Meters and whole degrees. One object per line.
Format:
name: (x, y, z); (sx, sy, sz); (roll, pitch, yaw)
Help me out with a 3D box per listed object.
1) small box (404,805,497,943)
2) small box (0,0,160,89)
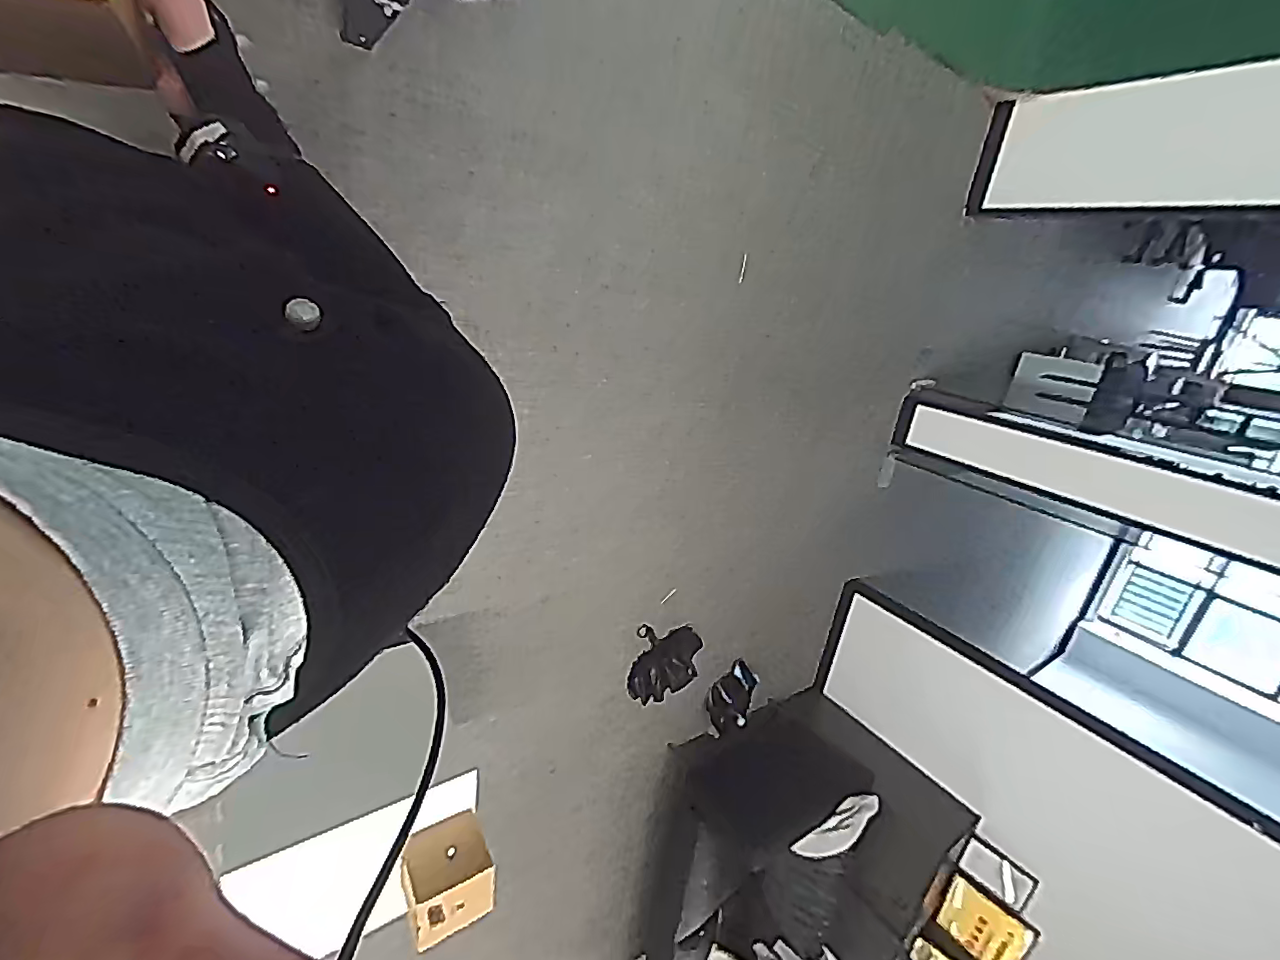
small box: (-0.460, 0.935, 1.299); (0.179, 0.176, 0.168); (-8, 117, -35)
small box: (-0.440, -0.369, 0.329); (0.179, 0.176, 0.168); (-13, 112, -30)
